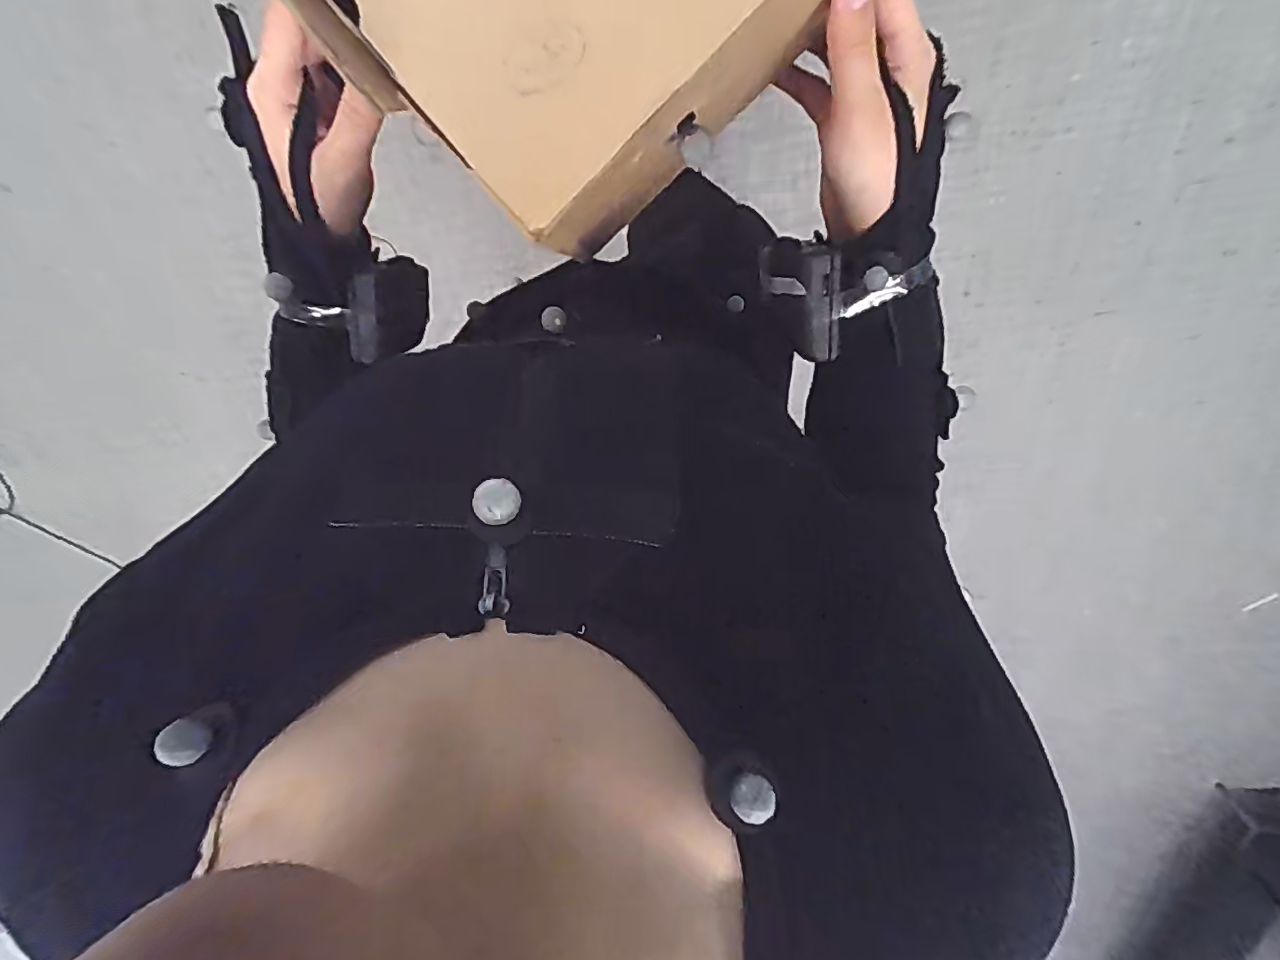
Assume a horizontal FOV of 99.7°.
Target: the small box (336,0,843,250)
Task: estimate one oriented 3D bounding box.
[{"bbox_3d":[-0.018,-0.220,0.227,0.179,0.176,0.168,-40,105,14],"label":"small box"}]
